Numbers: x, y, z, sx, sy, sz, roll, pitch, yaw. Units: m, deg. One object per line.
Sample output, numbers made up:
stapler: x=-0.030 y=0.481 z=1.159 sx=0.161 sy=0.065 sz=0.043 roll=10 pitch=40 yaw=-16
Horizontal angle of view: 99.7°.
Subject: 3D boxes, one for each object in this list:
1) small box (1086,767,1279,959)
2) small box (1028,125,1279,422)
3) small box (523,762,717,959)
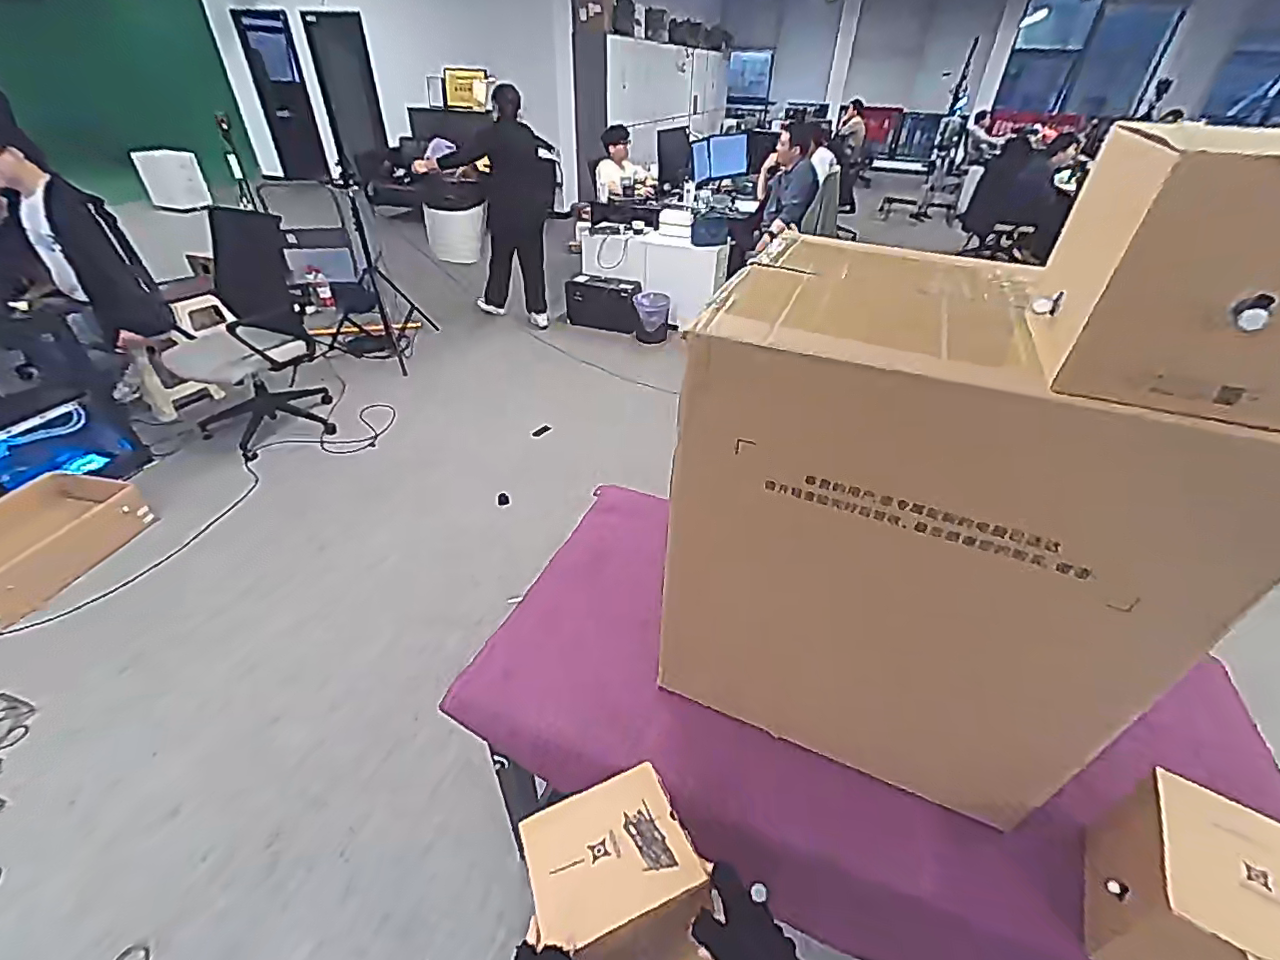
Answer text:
small box: x=0.639 y=0.480 z=0.607 sx=0.168 sy=0.176 sz=0.179 roll=23 pitch=40 yaw=25
small box: x=0.434 y=-0.164 z=0.417 sx=0.168 sy=0.176 sz=0.179 roll=15 pitch=41 yaw=18
small box: x=-0.022 y=0.482 z=0.630 sx=0.179 sy=0.176 sz=0.168 roll=-17 pitch=21 yaw=-16
